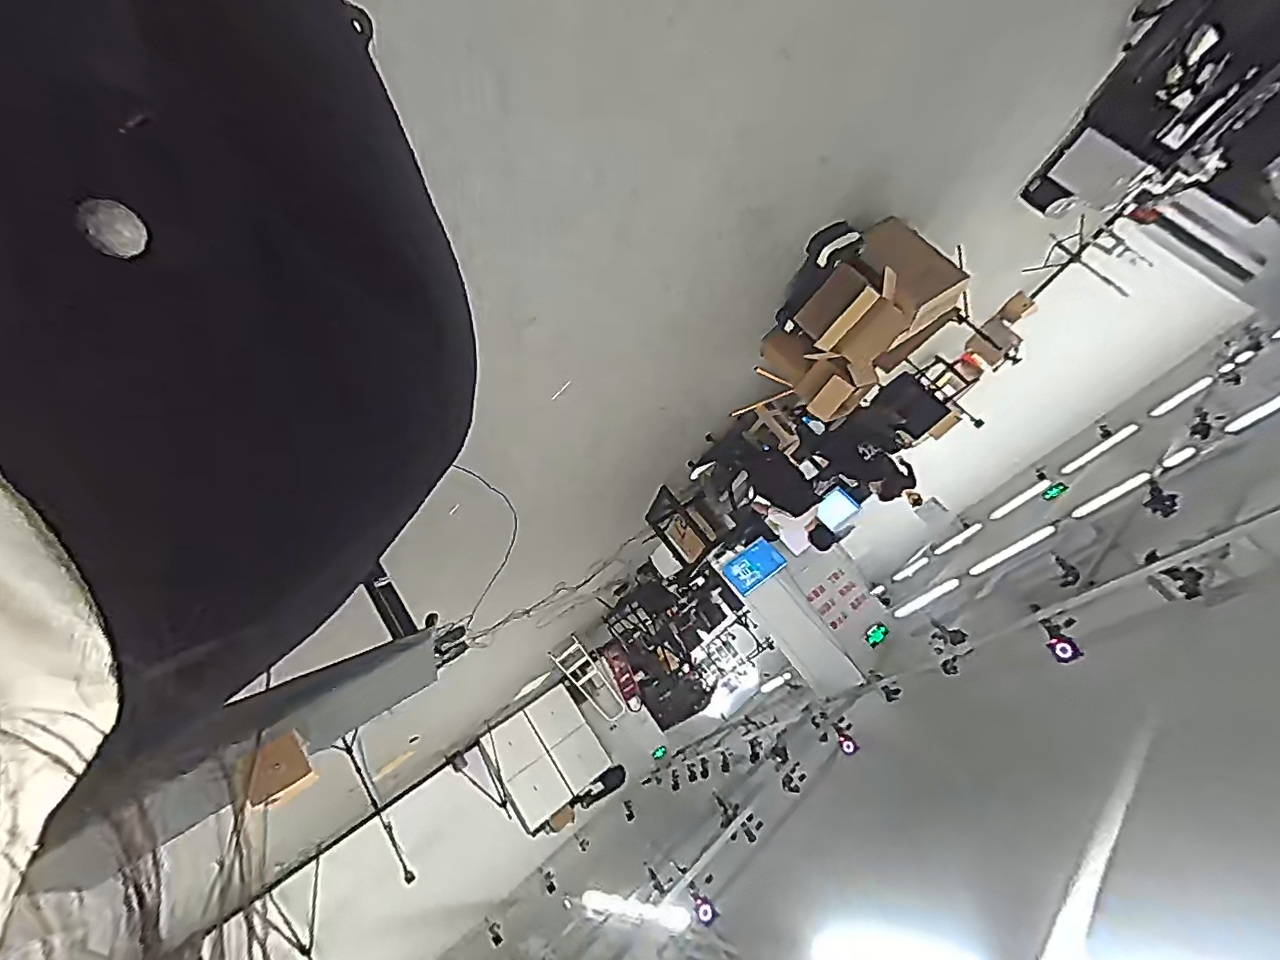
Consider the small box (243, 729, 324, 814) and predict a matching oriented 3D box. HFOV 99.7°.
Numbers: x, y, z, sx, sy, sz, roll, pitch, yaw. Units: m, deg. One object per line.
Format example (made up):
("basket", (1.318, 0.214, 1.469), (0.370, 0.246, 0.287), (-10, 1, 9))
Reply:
("small box", (-1.190, 0.969, 1.803), (0.179, 0.176, 0.168), (-27, 159, -35))
